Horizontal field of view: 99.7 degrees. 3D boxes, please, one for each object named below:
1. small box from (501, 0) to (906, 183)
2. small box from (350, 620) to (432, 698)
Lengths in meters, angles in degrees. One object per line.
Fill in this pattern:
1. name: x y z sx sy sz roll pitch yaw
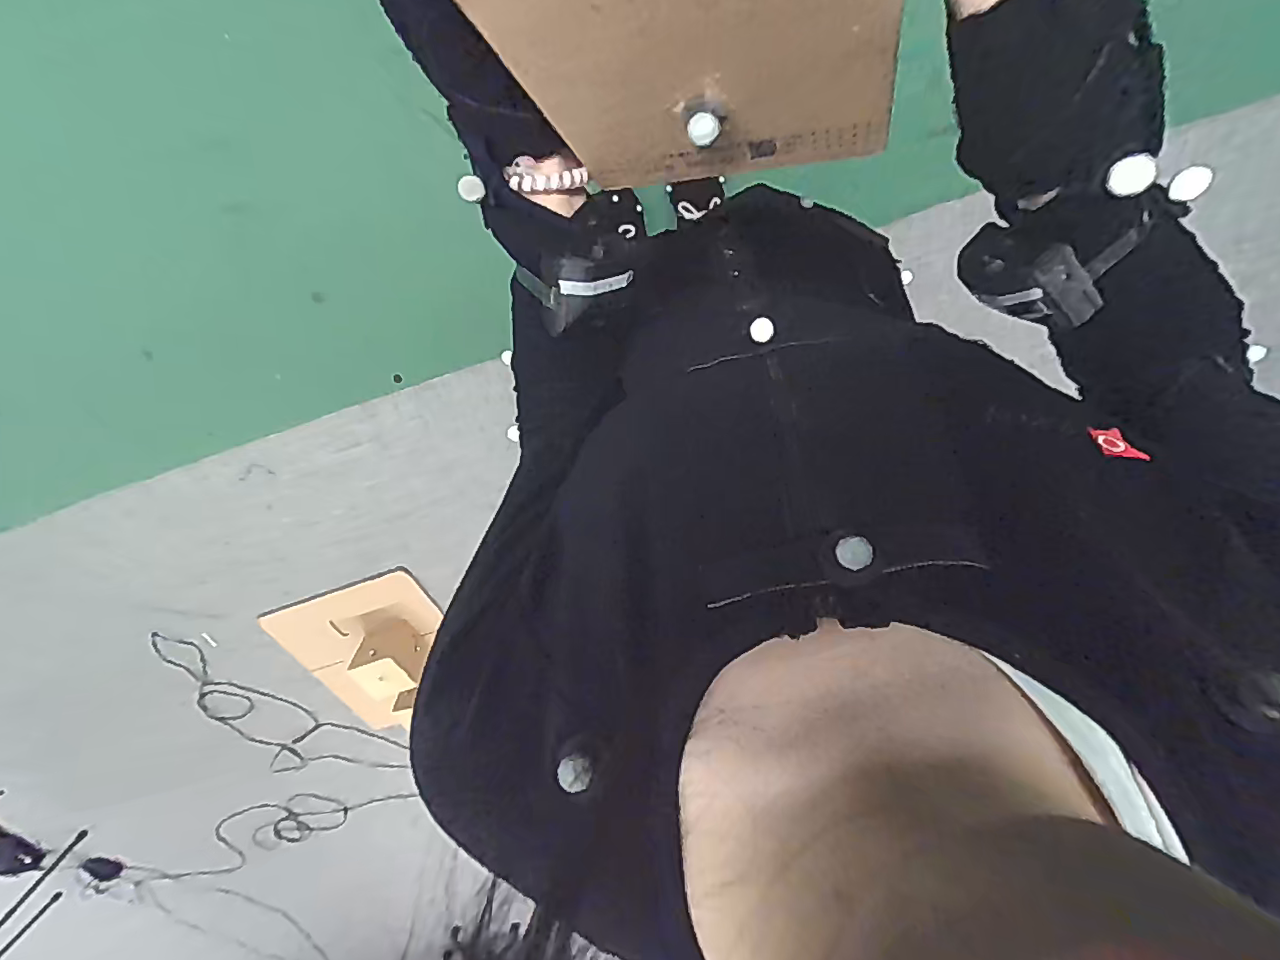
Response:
1. small box: 0.032 -0.270 0.240 0.168 0.176 0.179 3 89 20
2. small box: -0.863 0.625 1.894 0.179 0.176 0.168 -21 120 9
